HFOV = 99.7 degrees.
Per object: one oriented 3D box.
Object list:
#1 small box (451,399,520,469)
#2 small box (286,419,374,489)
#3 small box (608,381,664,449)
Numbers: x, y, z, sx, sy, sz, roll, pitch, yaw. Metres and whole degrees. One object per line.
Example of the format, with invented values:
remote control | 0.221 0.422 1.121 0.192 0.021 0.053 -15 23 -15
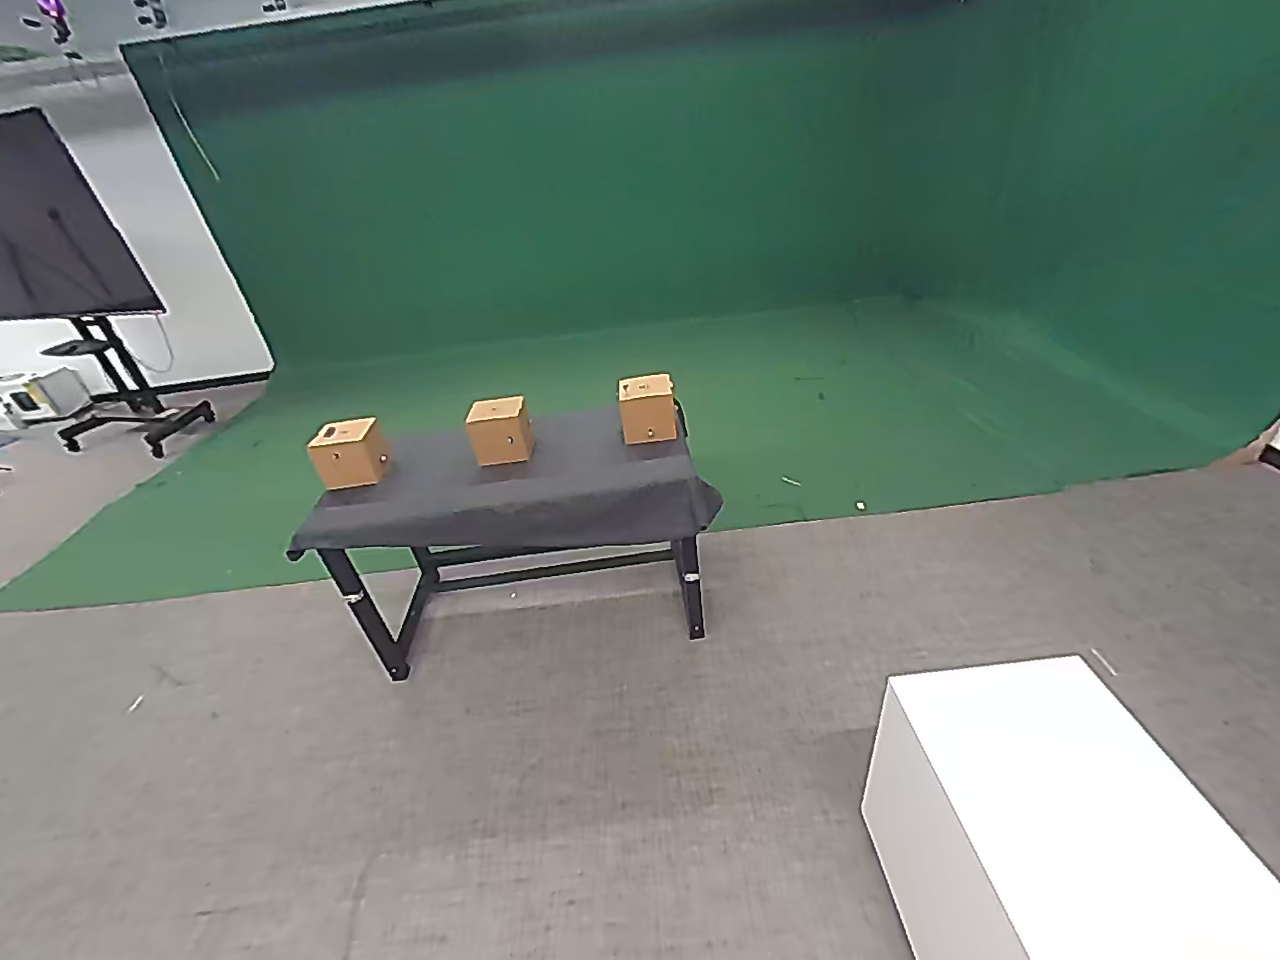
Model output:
small box | -0.506 -0.152 1.804 0.179 0.176 0.168 -8 31 -1
small box | -1.004 -0.083 1.765 0.179 0.176 0.168 -7 32 -5
small box | -0.012 -0.219 1.827 0.179 0.176 0.168 -5 32 0
